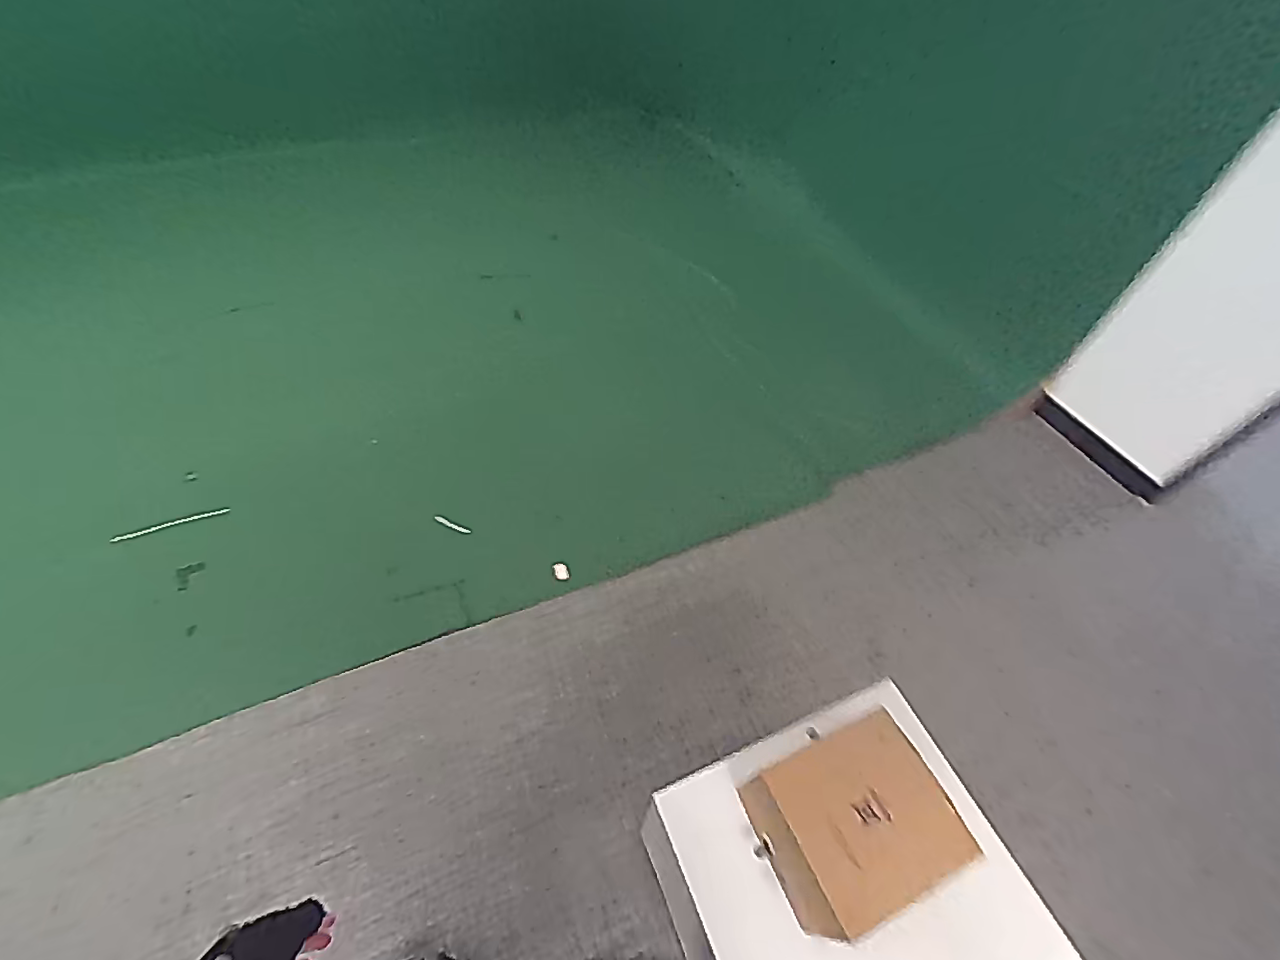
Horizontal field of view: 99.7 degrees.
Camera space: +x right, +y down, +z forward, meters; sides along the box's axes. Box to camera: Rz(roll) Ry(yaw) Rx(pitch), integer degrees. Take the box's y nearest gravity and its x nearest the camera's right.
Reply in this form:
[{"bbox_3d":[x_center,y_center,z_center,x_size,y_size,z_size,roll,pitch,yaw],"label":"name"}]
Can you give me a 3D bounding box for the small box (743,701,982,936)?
[{"bbox_3d":[0.244,0.394,0.644,0.179,0.176,0.168,-21,56,-14],"label":"small box"}]
